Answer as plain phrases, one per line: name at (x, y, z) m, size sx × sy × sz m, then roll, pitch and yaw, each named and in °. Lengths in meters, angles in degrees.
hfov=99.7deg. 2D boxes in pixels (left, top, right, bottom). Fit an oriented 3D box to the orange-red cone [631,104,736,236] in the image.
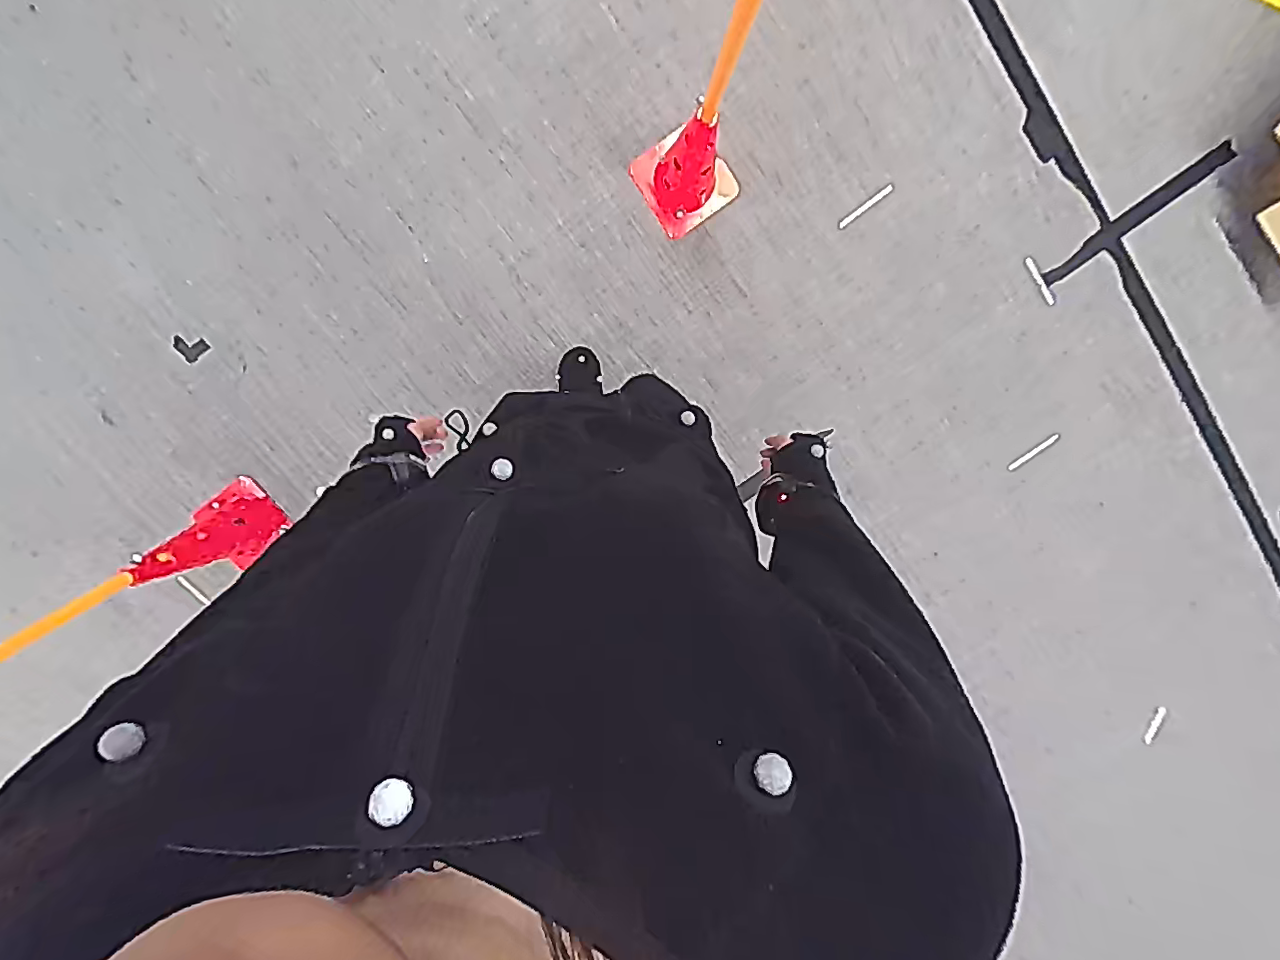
orange-red cone at (0.111, -0.665, 1.095) m, size 0.199 × 0.360 × 0.198 m, roll -33°, pitch 102°, yaw 4°
